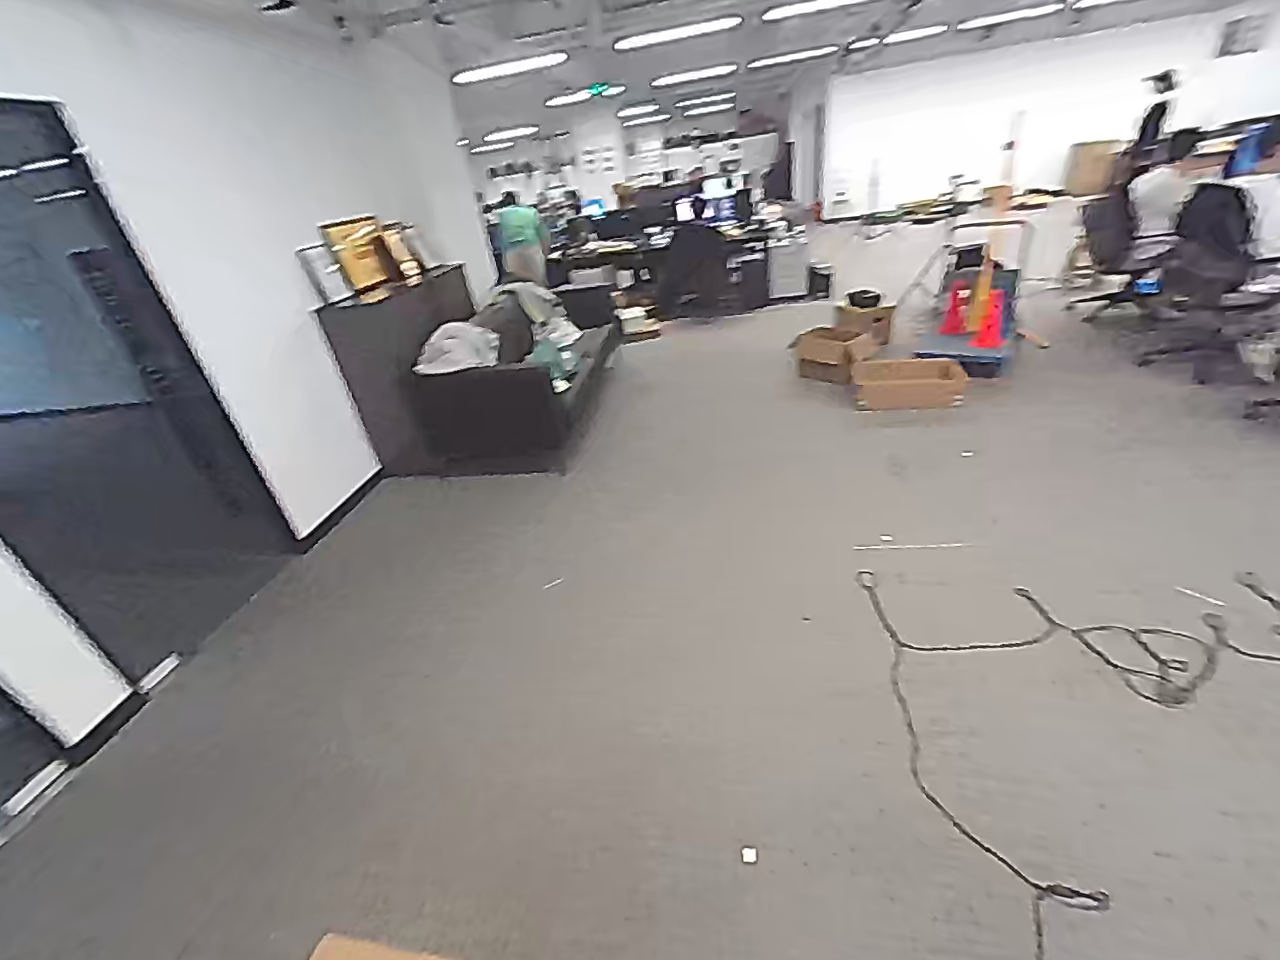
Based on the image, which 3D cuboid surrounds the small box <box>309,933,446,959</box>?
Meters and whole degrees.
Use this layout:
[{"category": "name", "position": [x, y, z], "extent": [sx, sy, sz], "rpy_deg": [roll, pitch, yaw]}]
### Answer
[{"category": "small box", "position": [-0.244, 0.573, 0.508], "extent": [0.179, 0.176, 0.168], "rpy_deg": [-2, 31, 14]}]
